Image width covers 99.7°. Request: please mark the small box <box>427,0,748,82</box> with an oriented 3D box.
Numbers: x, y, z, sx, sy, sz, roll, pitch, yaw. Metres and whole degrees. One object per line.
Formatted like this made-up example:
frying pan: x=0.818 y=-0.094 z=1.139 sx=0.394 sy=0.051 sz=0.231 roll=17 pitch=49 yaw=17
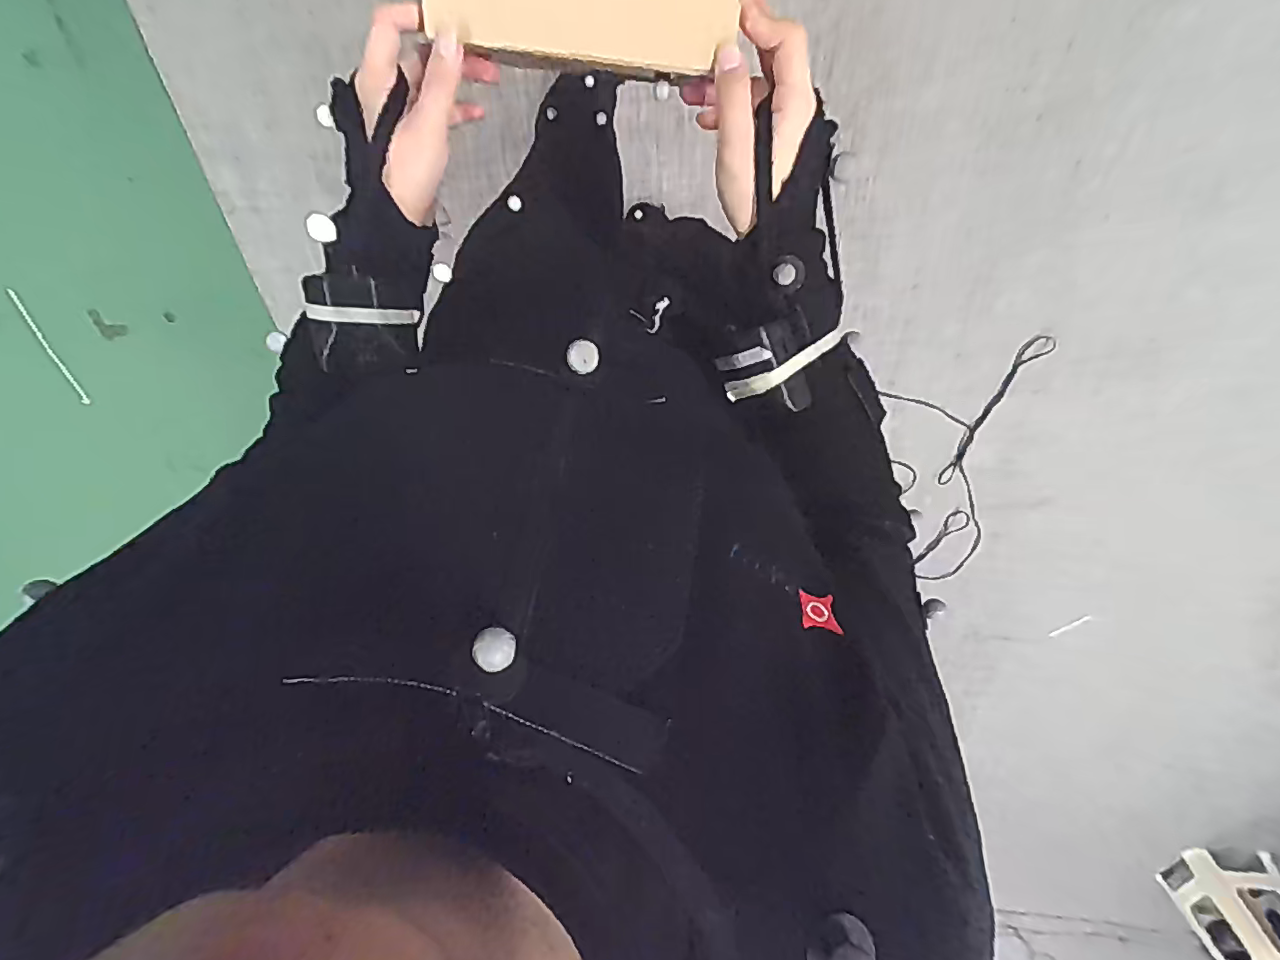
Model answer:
small box: x=-0.018 y=-0.352 z=0.324 sx=0.179 sy=0.176 sz=0.168 roll=6 pitch=124 yaw=-1
